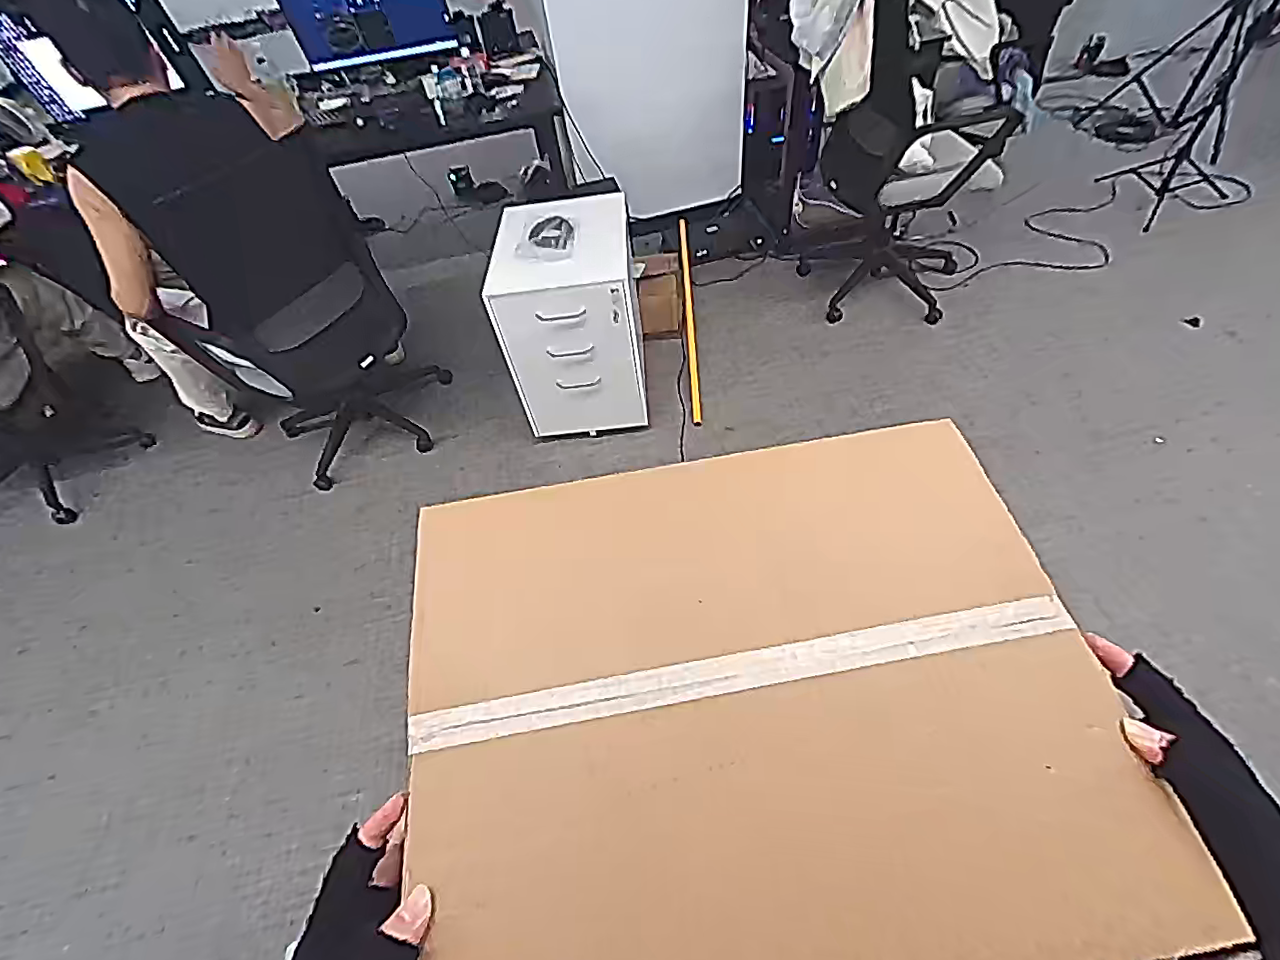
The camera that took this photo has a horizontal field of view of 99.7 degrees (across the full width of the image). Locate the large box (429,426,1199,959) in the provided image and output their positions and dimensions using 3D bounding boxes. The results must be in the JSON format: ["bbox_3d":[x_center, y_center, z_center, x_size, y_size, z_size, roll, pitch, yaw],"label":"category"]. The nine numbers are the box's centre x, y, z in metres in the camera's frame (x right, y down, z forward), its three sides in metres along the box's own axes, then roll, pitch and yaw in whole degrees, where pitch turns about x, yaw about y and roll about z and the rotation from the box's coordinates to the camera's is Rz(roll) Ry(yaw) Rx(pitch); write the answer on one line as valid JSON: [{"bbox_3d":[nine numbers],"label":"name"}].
[{"bbox_3d":[0.074,0.197,0.469,0.408,0.320,0.320,-10,60,-2],"label":"large box"}]
